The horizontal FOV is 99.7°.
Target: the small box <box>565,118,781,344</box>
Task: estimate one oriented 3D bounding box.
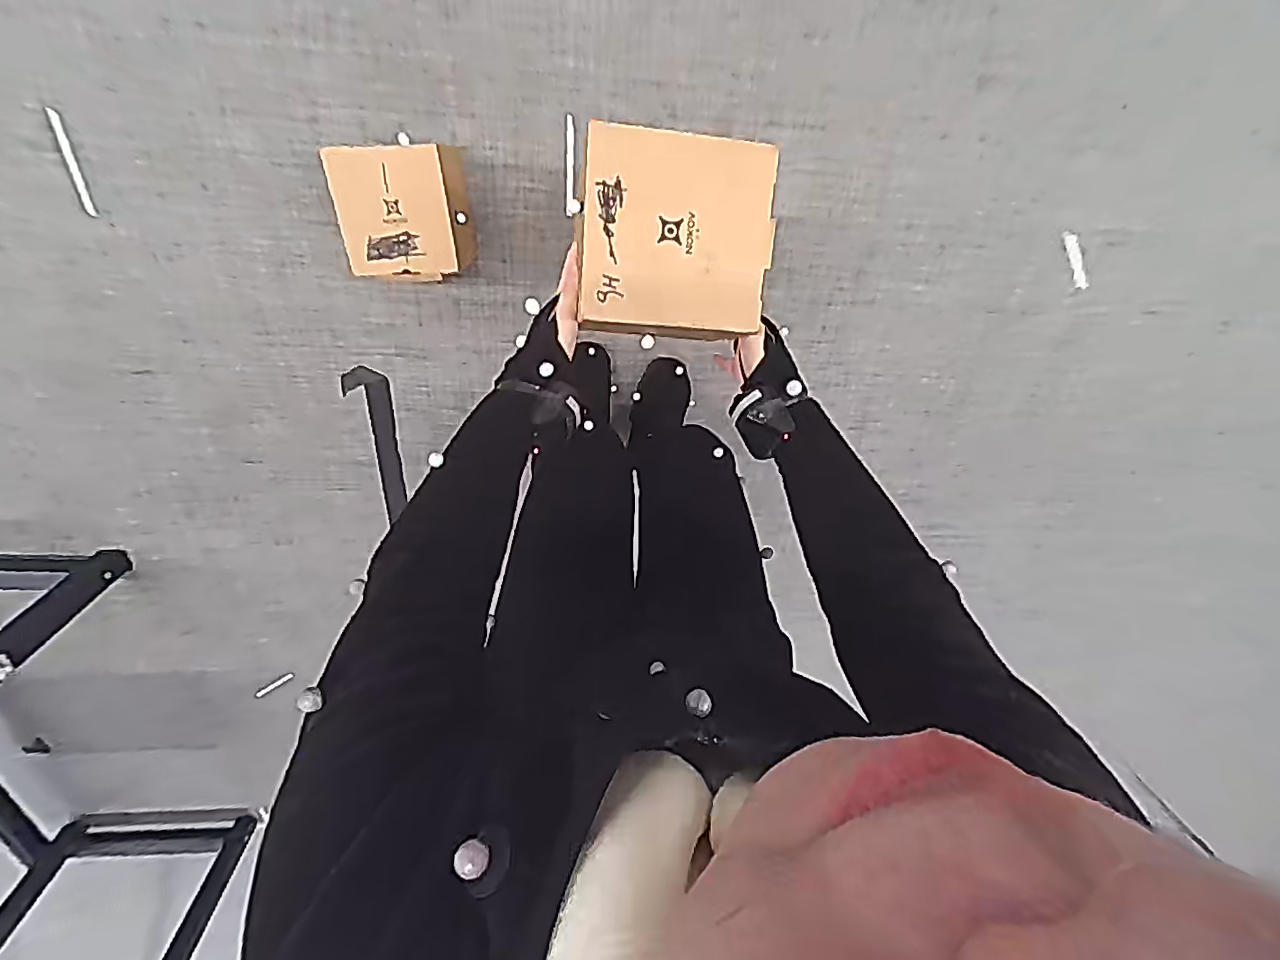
[{"bbox_3d":[0.019,-0.230,0.550,0.179,0.176,0.168,2,101,-11],"label":"small box"}]

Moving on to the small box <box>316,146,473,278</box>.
[{"bbox_3d":[-0.377,-0.434,0.870,0.168,0.176,0.179,-4,120,-4],"label":"small box"}]
